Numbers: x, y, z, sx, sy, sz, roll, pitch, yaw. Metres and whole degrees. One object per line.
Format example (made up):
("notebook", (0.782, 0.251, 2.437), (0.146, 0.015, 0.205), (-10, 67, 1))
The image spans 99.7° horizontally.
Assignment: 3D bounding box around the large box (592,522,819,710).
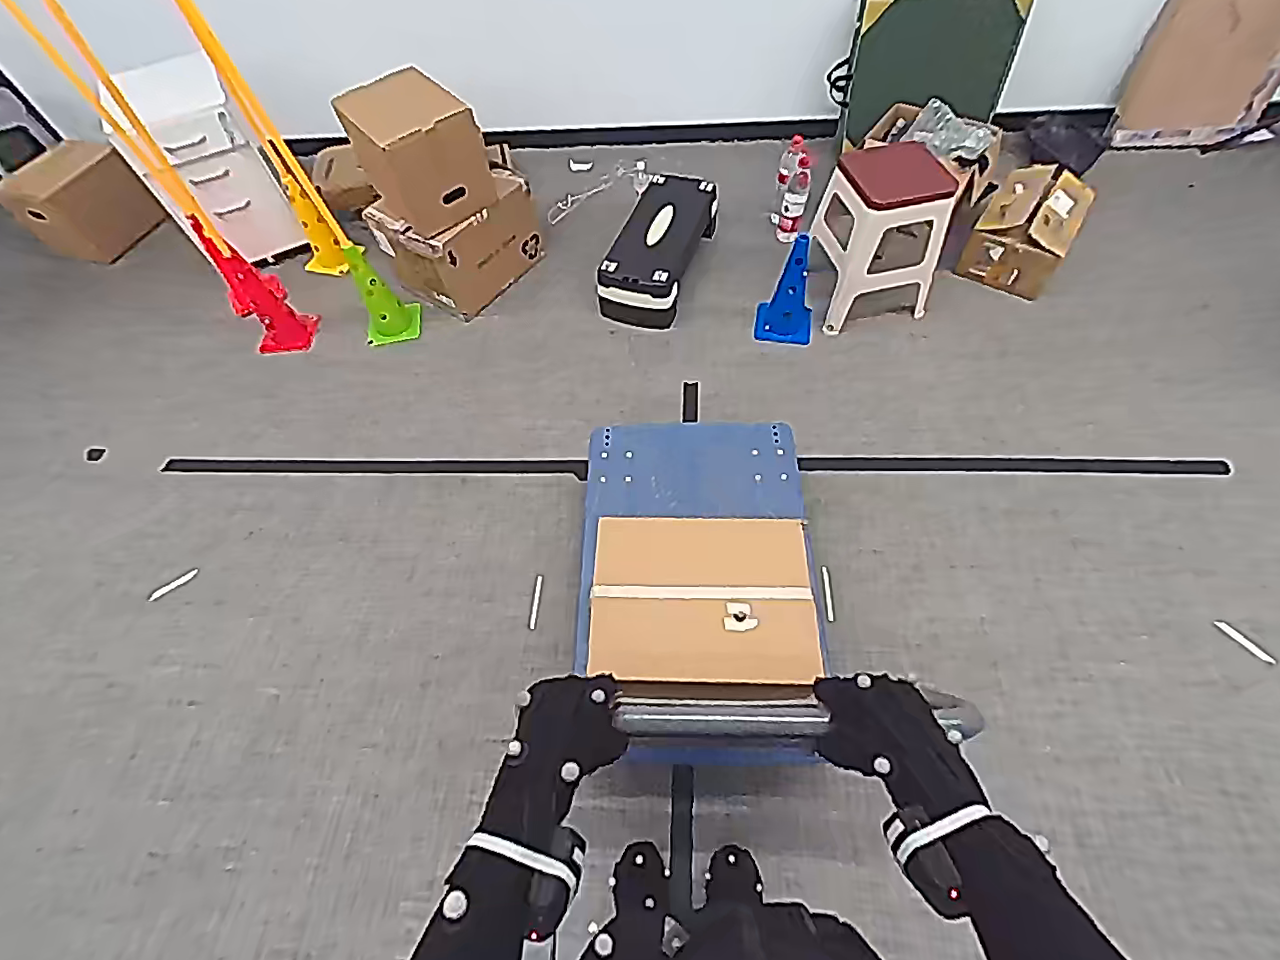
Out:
("large box", (0.117, 0.294, 1.140), (0.408, 0.320, 0.320), (0, 59, 2))
